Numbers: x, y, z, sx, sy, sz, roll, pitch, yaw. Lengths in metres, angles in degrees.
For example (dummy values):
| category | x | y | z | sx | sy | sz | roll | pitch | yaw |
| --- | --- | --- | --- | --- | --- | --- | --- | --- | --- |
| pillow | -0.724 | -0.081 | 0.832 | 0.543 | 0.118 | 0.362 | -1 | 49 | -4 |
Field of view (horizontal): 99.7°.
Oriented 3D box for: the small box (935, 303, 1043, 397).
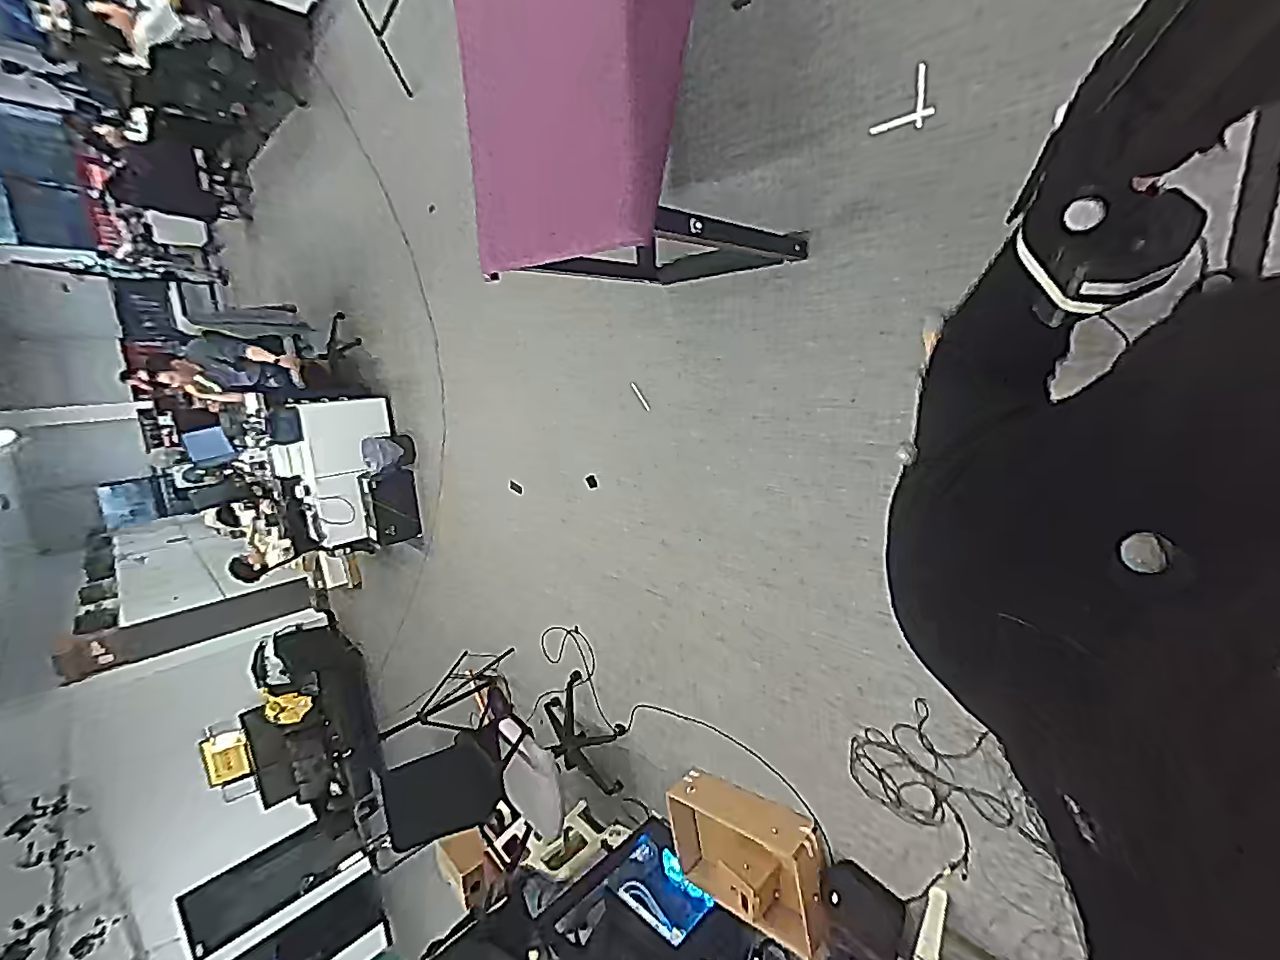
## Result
| category | x | y | z | sx | sy | sz | roll | pitch | yaw |
| --- | --- | --- | --- | --- | --- | --- | --- | --- | --- |
| small box | 0.806 | -0.294 | 1.243 | 0.168 | 0.176 | 0.179 | -6 | 94 | 47 |
